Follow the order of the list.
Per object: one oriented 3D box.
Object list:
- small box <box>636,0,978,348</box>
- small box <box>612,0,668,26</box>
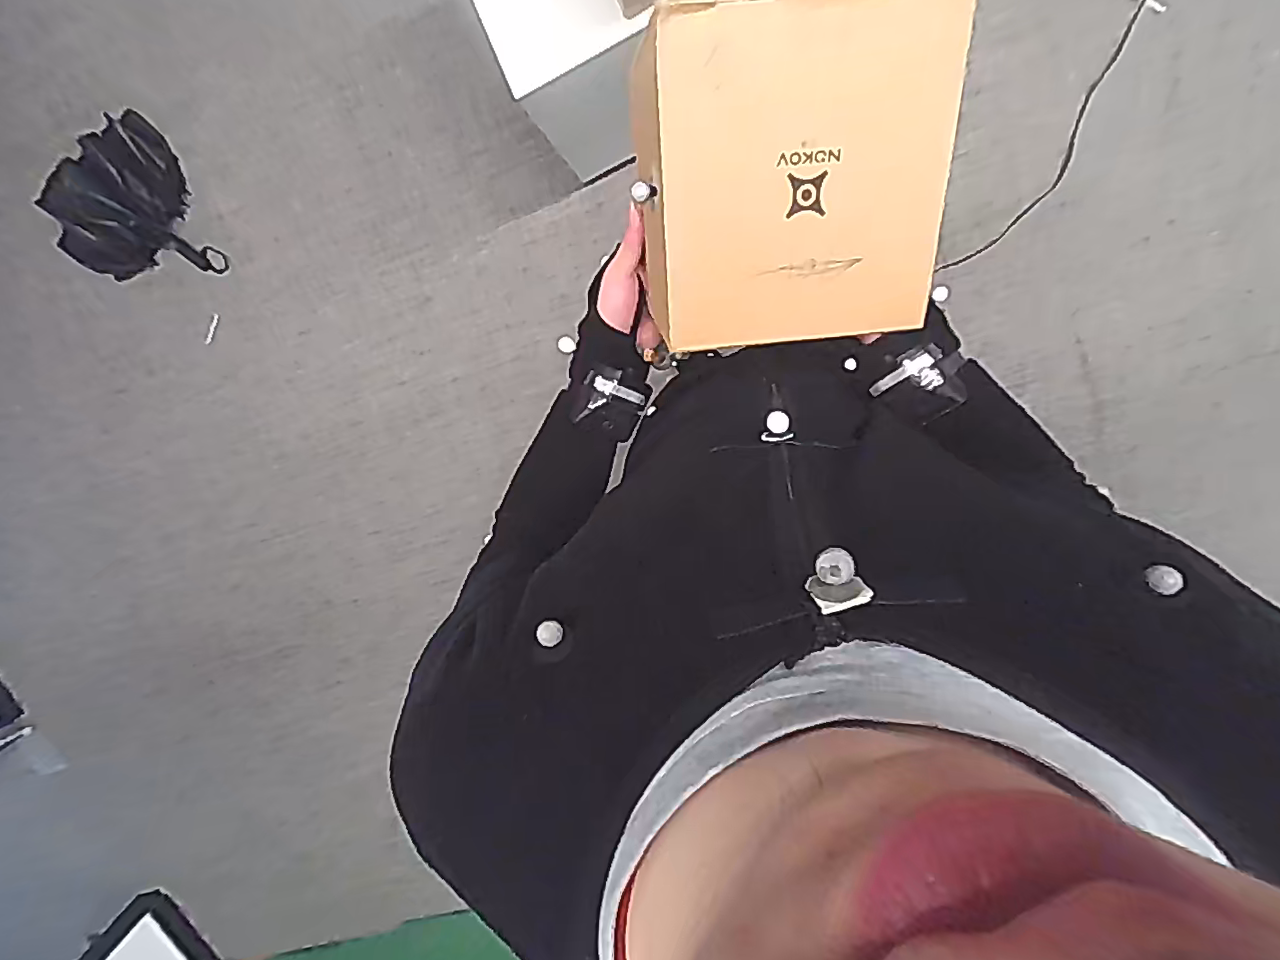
[{"bbox_3d":[0.090,-0.203,0.376,0.168,0.176,0.179,-6,117,-2],"label":"small box"},{"bbox_3d":[0.005,-0.722,0.656,0.168,0.176,0.179,-25,101,12],"label":"small box"}]
